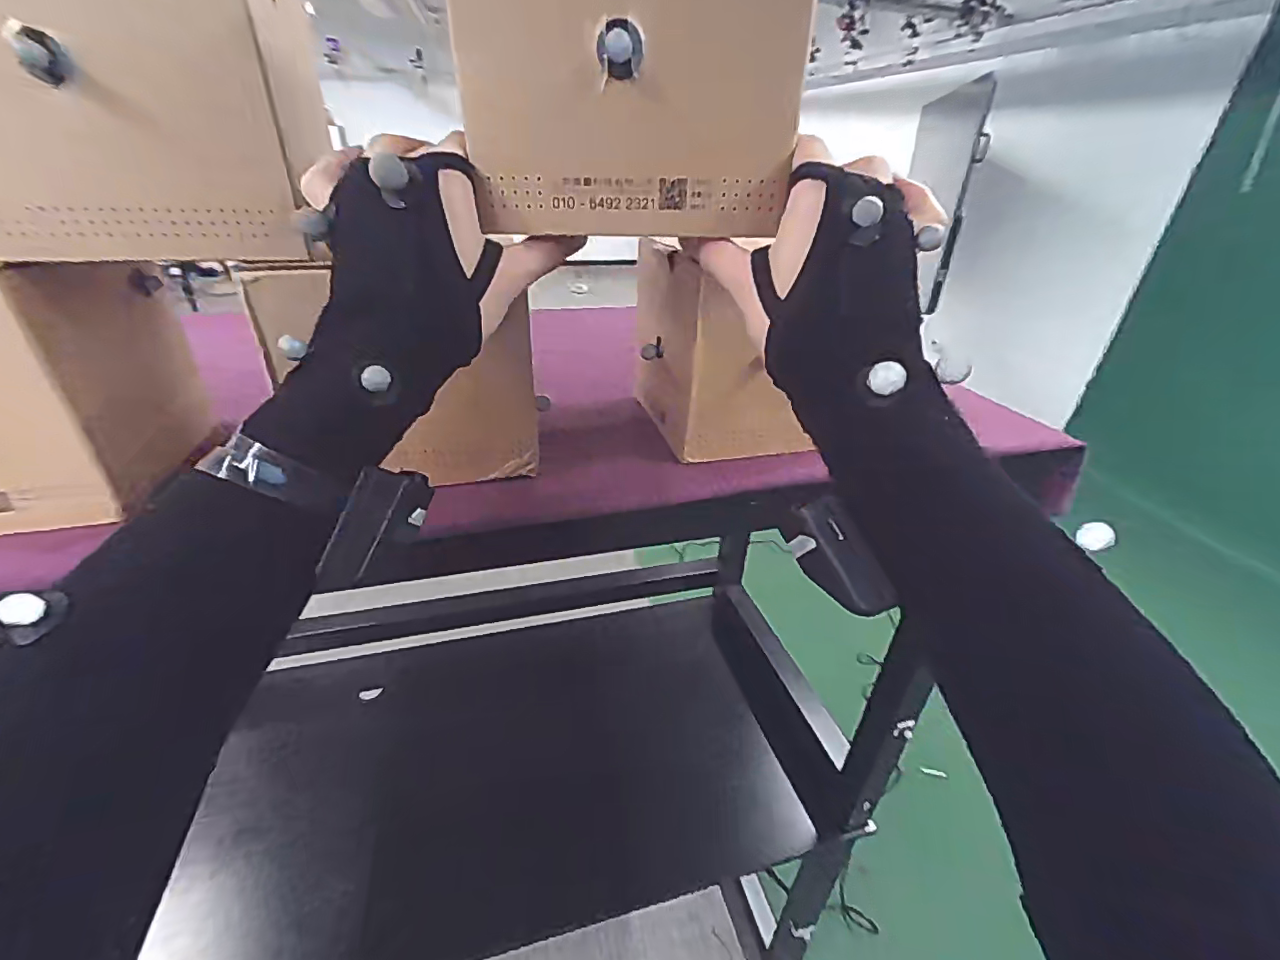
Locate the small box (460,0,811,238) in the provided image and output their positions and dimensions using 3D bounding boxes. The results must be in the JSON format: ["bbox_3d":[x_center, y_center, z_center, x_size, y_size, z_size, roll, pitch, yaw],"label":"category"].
[{"bbox_3d":[0.000,-0.245,0.321,0.168,0.176,0.179,1,32,0],"label":"small box"}]

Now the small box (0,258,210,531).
[{"bbox_3d":[-0.444,-0.072,0.376,0.168,0.176,0.179,-7,30,-16],"label":"small box"}]

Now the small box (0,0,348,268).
[{"bbox_3d":[-0.302,-0.235,0.338,0.179,0.176,0.168,-8,31,-16],"label":"small box"}]

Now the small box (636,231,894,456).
[{"bbox_3d":[0.100,-0.134,0.517,0.179,0.176,0.168,-8,33,-15],"label":"small box"}]

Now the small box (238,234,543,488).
[{"bbox_3d":[-0.180,-0.104,0.448,0.179,0.176,0.168,-6,31,-14],"label":"small box"}]
